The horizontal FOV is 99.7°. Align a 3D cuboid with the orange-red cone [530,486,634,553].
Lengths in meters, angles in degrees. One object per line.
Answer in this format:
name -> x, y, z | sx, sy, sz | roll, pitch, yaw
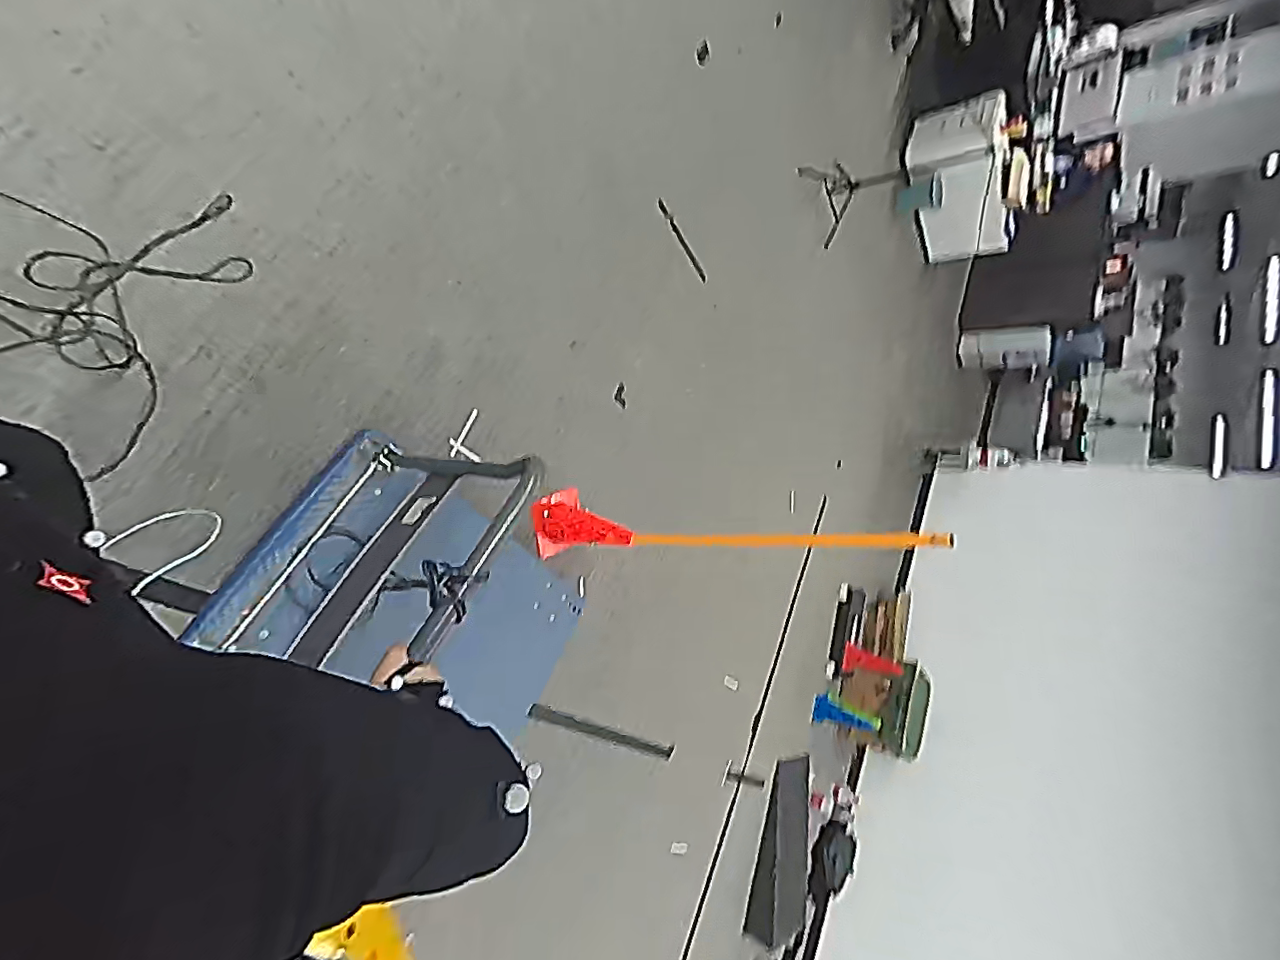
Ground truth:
orange-red cone -> -0.160, 0.151, 1.722 | 0.198, 0.360, 0.199 | -21, 112, -45
